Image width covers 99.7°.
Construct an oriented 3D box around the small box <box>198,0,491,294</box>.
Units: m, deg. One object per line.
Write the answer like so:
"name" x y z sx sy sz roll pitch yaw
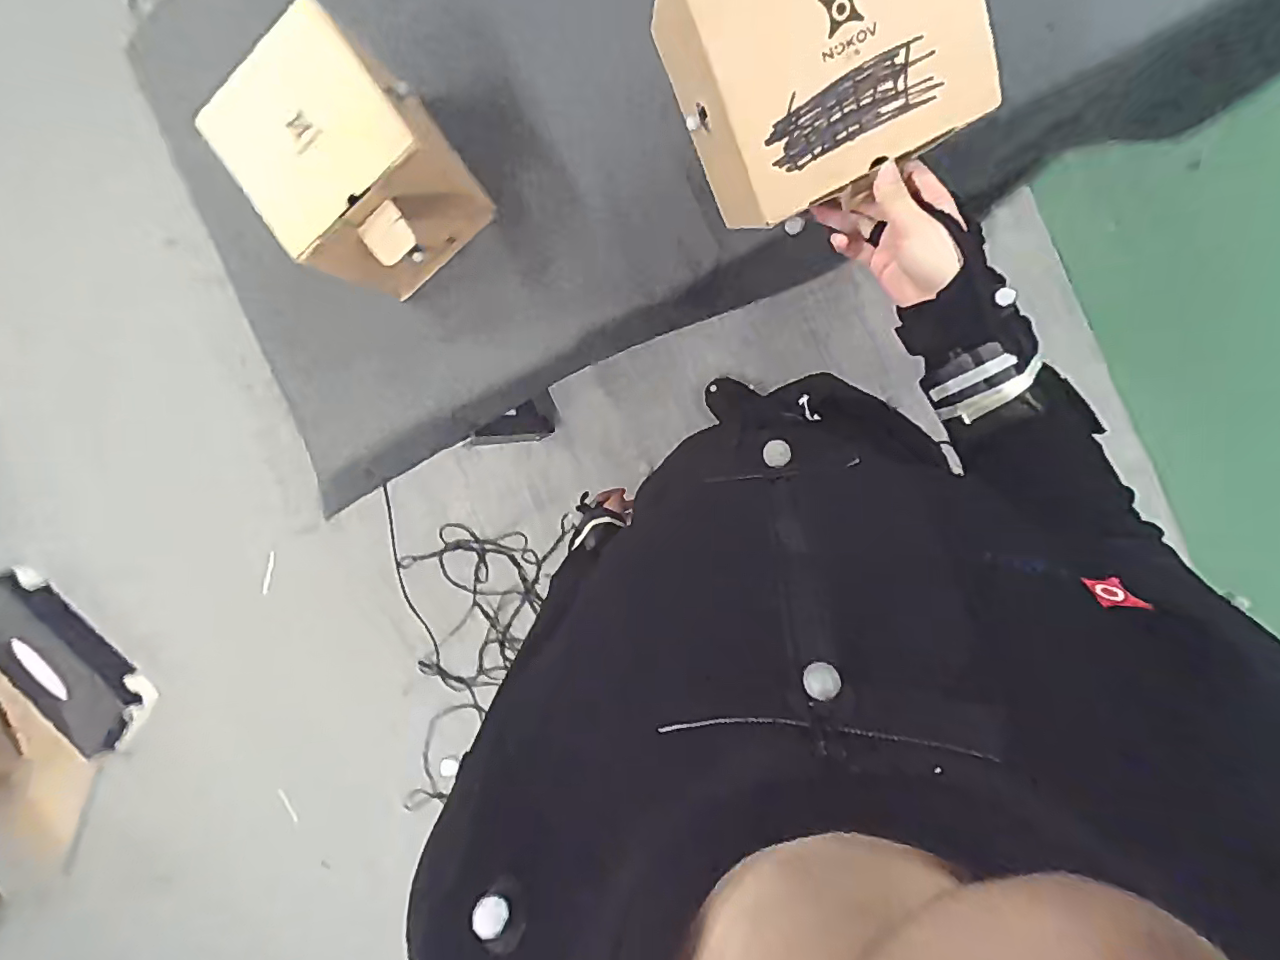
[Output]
"small box" -0.298 -0.330 0.579 0.168 0.176 0.179 -37 88 11
